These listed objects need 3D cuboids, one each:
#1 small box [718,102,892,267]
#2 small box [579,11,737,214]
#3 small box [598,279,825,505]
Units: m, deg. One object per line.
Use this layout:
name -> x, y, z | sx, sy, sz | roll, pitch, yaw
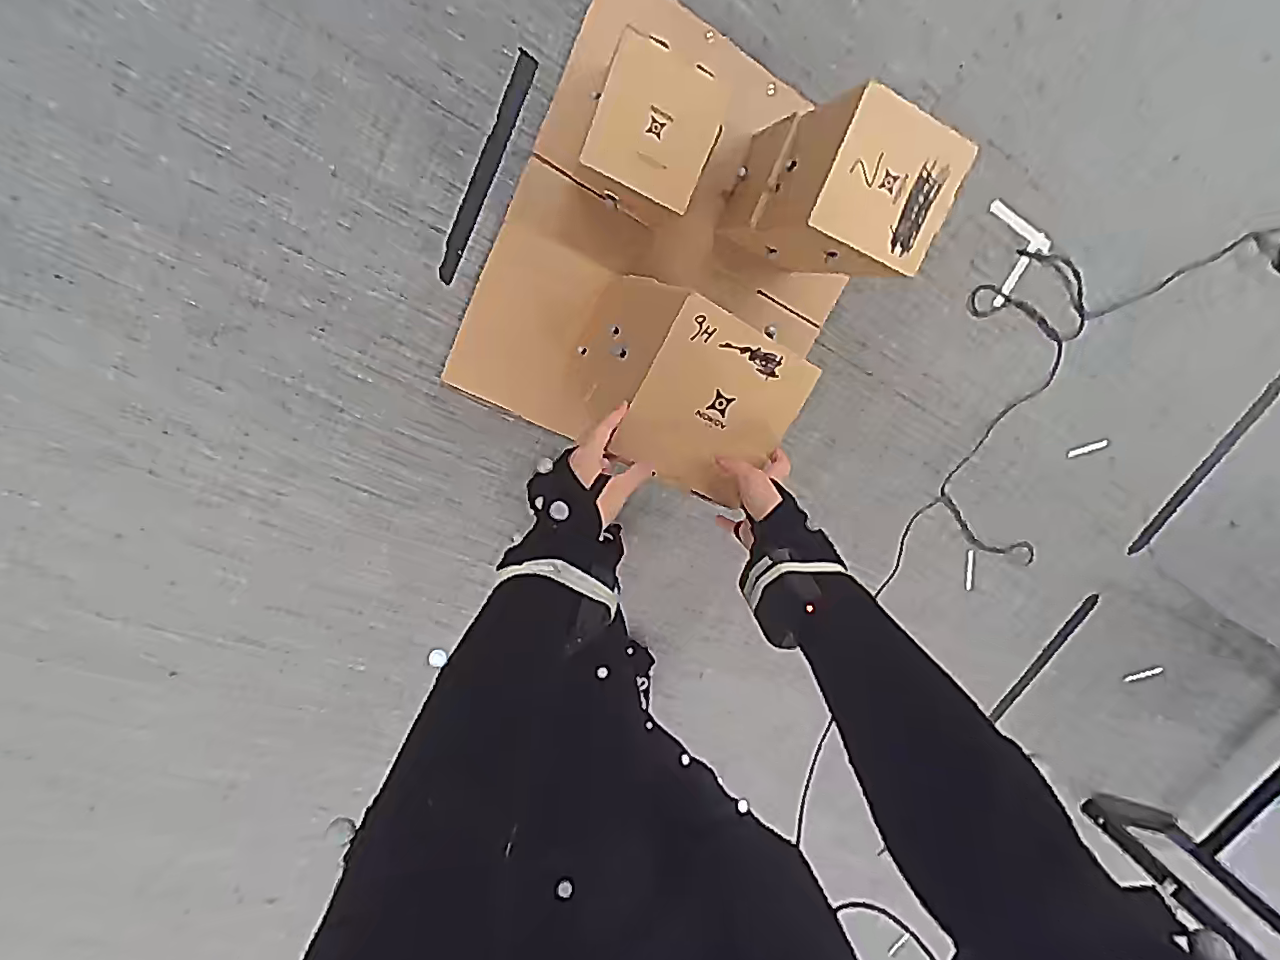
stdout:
small box -> 0.255, -0.464, 0.874 | 0.179, 0.176, 0.168 | 19, 107, -18
small box -> 0.013, -0.521, 0.800 | 0.168, 0.176, 0.179 | 18, 107, -16
small box -> 0.063, -0.106, 0.609 | 0.168, 0.176, 0.179 | 25, 105, -20
